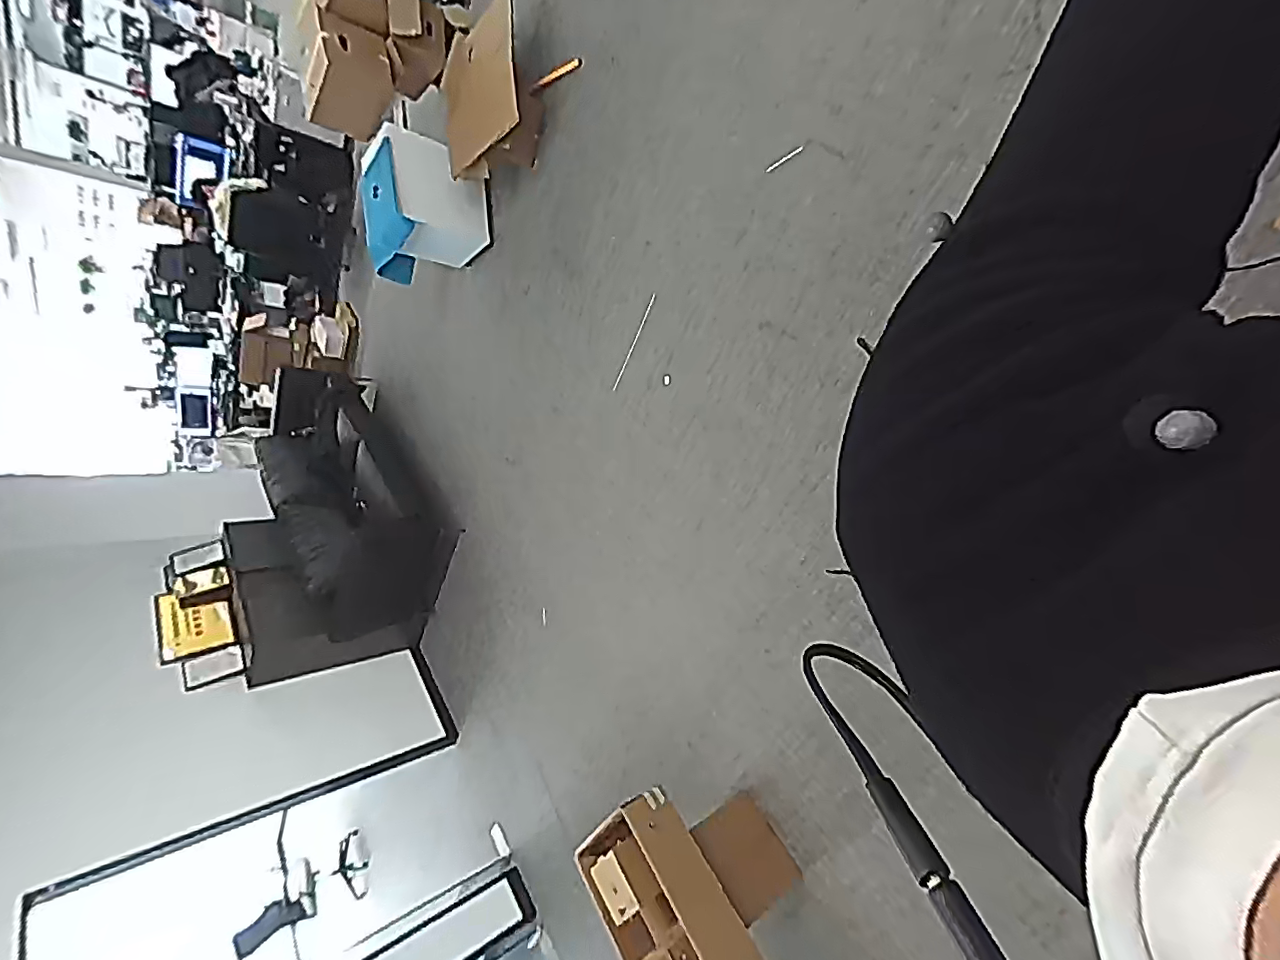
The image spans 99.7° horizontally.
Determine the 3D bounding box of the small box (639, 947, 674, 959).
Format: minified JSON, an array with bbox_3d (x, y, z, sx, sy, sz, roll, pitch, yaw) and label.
[{"bbox_3d":[0.023,1.454,1.503,0.168,0.176,0.179,55,127,29],"label":"small box"}]
